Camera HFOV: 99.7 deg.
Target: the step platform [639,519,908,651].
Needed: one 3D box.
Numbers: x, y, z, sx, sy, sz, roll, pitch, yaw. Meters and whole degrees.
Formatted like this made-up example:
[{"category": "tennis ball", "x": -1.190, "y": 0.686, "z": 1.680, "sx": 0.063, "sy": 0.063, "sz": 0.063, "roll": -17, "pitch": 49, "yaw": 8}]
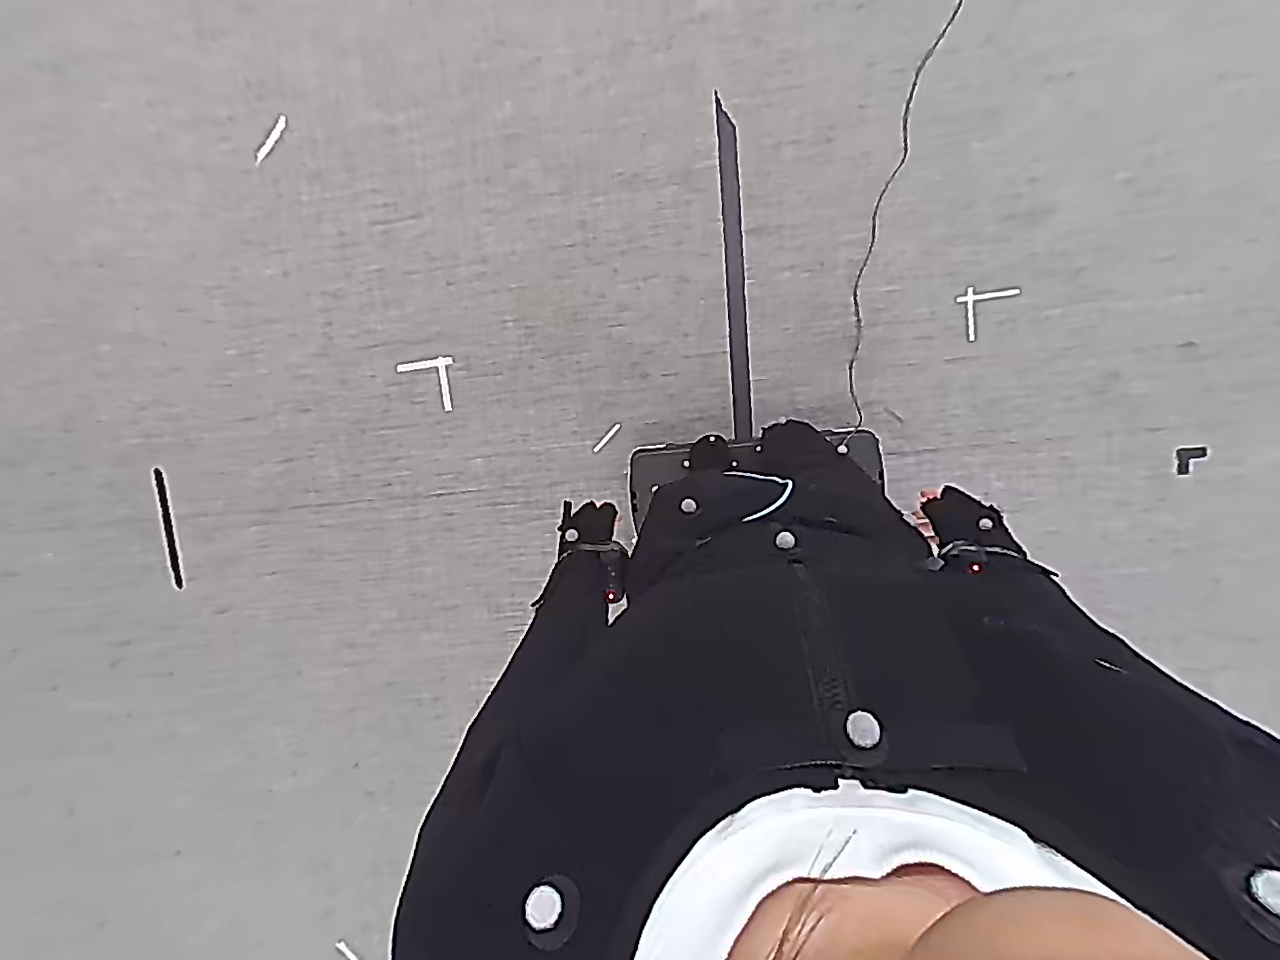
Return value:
[{"category": "step platform", "x": 0.340, "y": 0.282, "z": 1.450, "sx": 0.684, "sy": 0.204, "sz": 0.286, "roll": -6, "pitch": 94, "yaw": 8}]
